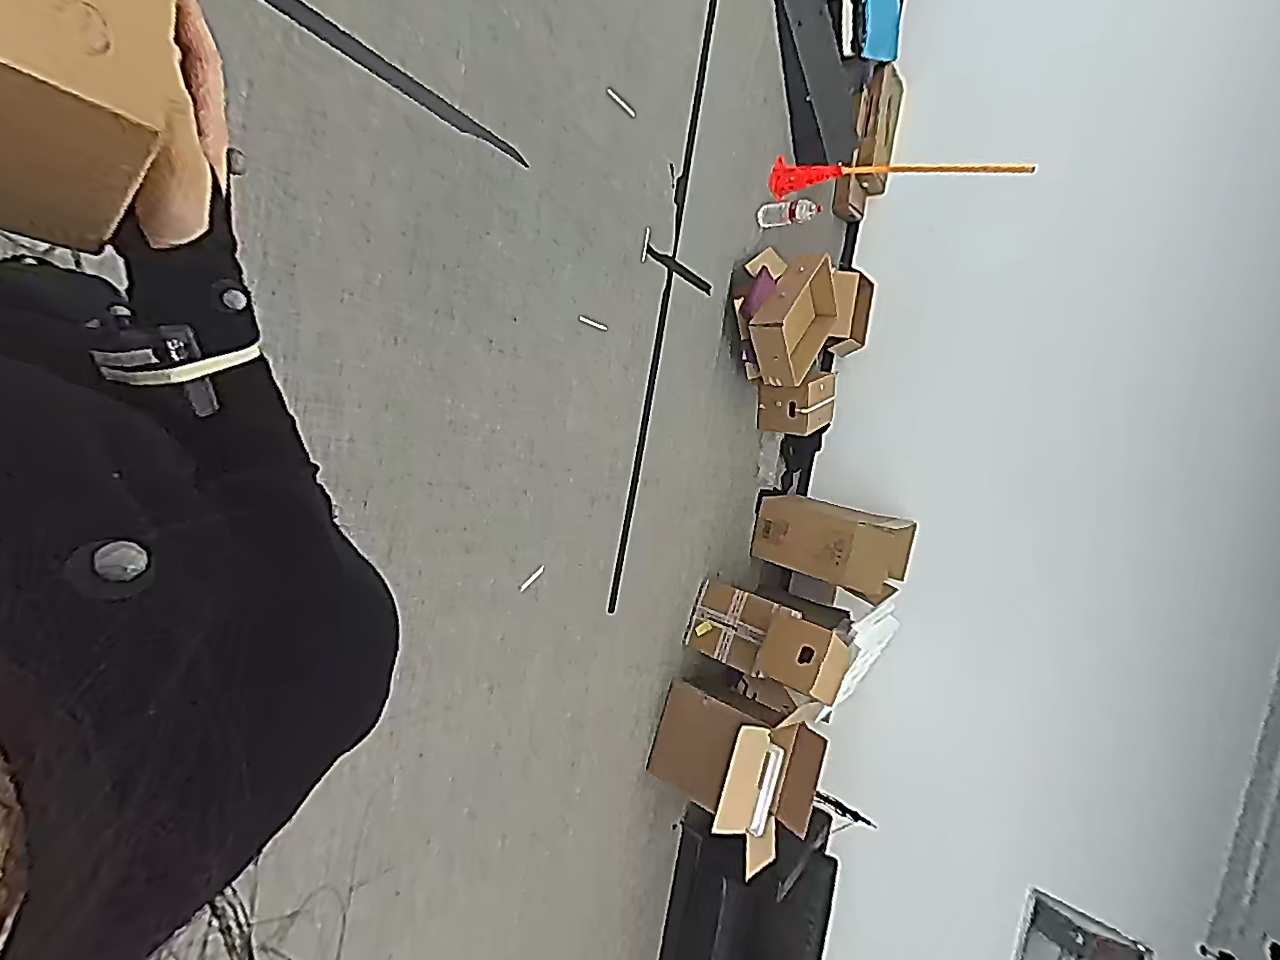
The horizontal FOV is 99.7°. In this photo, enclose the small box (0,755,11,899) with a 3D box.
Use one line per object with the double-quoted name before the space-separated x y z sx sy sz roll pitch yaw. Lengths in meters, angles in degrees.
"small box" -1.102 0.562 0.827 0.179 0.176 0.168 1 101 -52
